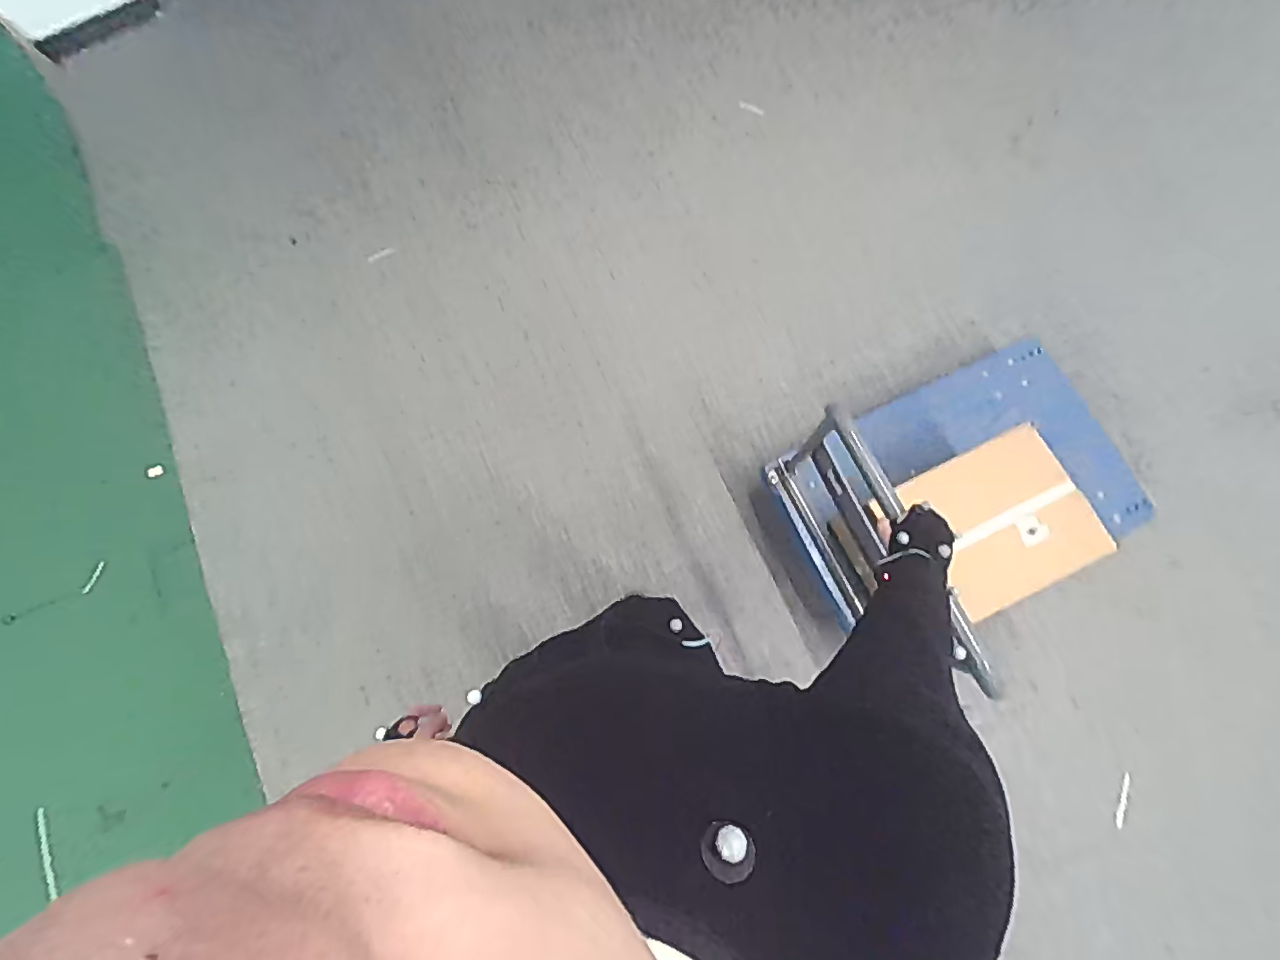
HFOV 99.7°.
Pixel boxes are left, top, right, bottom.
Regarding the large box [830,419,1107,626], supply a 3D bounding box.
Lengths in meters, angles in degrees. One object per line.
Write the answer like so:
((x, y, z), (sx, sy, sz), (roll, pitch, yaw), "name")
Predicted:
((0.743, 0.116, 1.296), (0.408, 0.320, 0.320), (-26, 79, -3), "large box")
